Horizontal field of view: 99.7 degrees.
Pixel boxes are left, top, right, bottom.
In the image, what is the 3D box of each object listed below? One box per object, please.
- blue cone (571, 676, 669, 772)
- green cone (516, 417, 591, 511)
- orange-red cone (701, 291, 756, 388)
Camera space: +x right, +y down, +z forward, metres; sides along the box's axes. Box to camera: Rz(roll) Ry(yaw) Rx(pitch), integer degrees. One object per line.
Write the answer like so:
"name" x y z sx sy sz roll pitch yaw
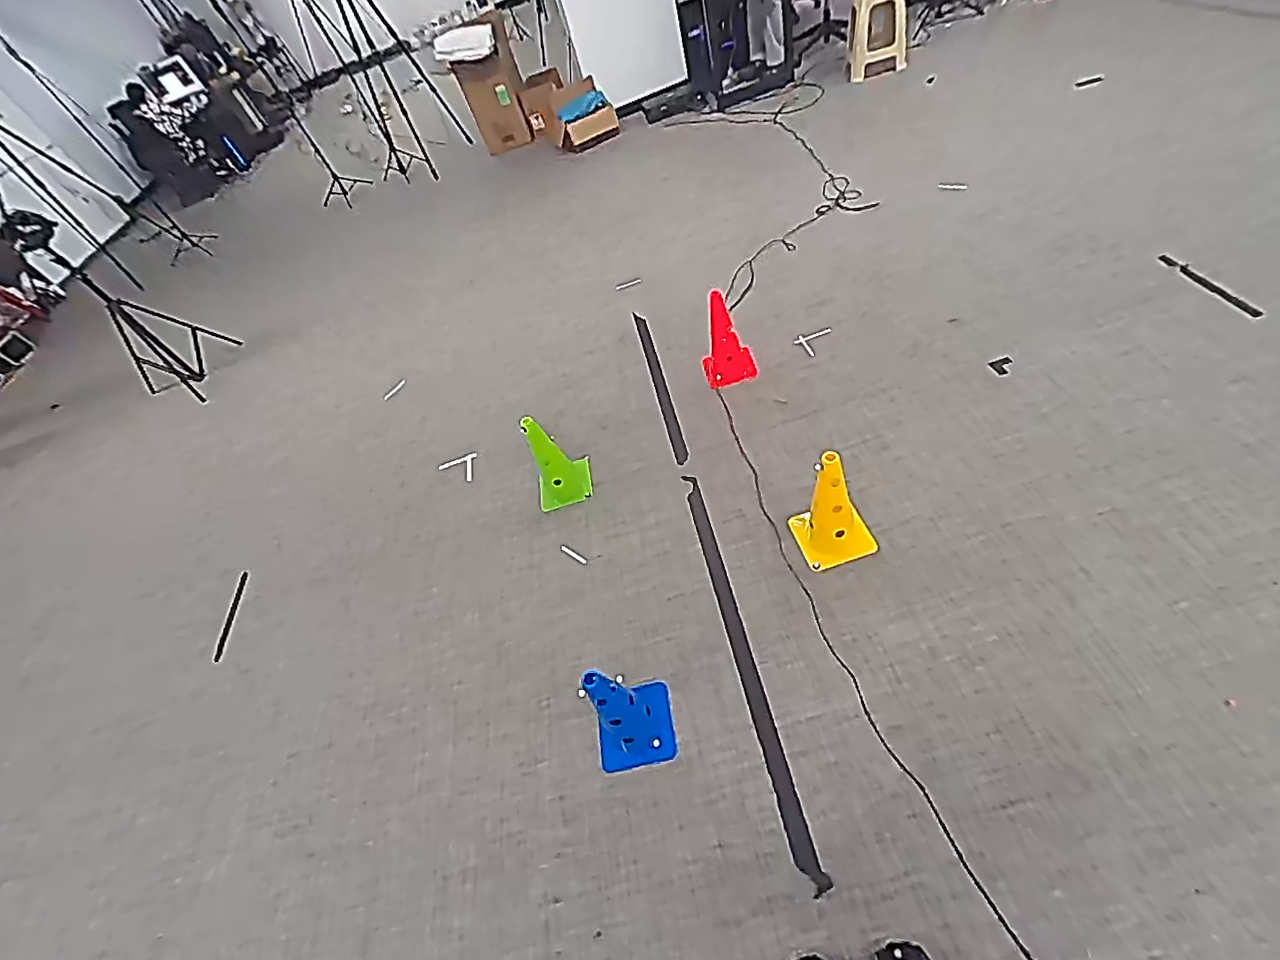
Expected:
"blue cone" -0.069 0.549 1.298 0.192 0.380 0.193 -16 48 9
"green cone" -0.334 -0.089 1.905 0.202 0.368 0.200 -19 48 6
"orange-red cone" 0.312 -0.559 2.063 0.199 0.360 0.198 -14 50 7
